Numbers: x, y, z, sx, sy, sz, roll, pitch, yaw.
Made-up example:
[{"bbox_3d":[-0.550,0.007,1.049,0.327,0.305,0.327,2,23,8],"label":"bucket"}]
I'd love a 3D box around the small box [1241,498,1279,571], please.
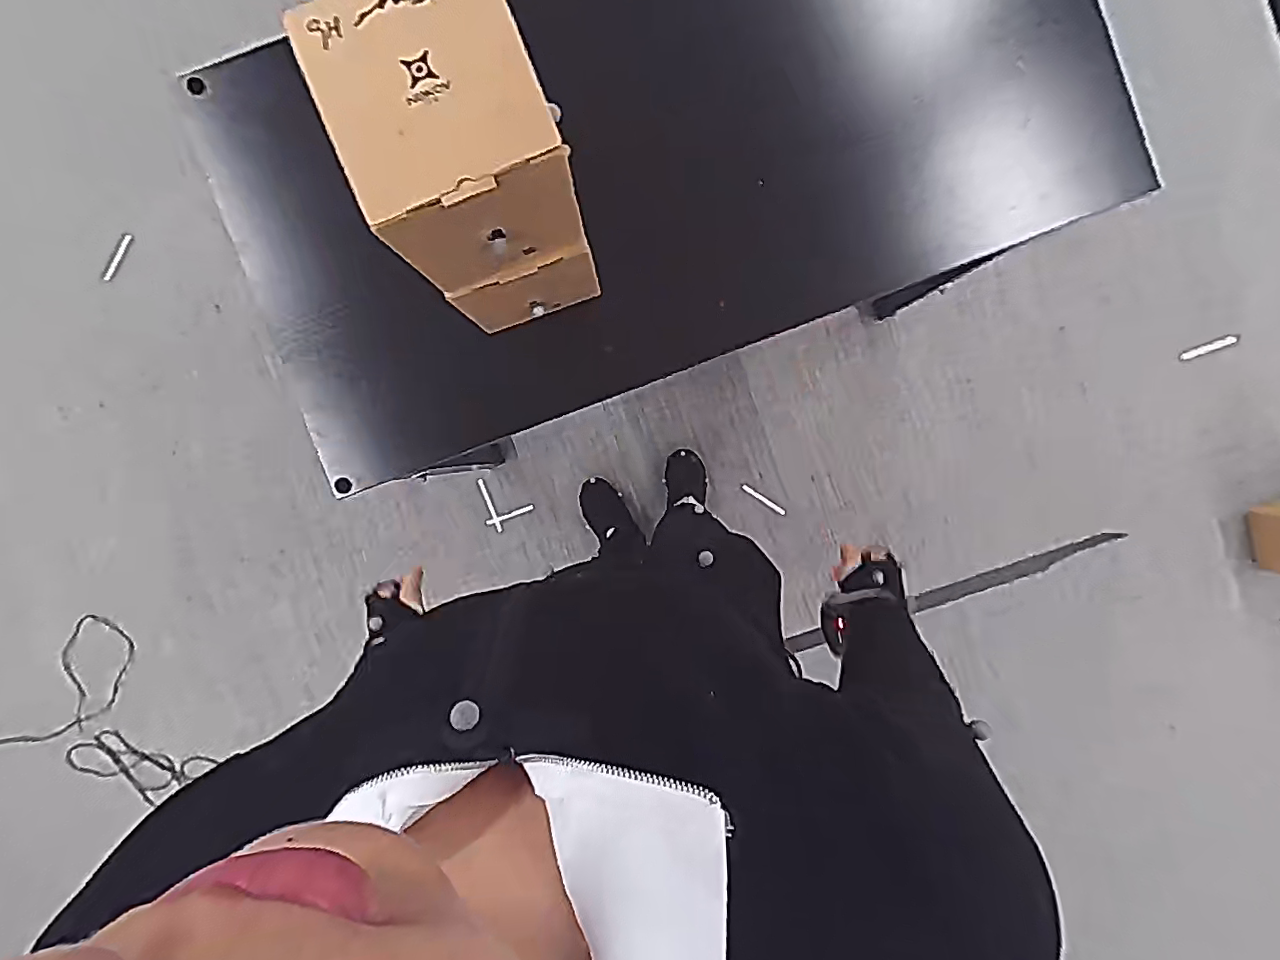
[{"bbox_3d":[1.757,0.143,1.424,0.168,0.176,0.179,-17,94,1],"label":"small box"}]

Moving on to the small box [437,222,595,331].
[{"bbox_3d":[-0.161,-0.305,0.659,0.168,0.176,0.179,-19,93,1],"label":"small box"}]

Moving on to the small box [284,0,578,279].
[{"bbox_3d":[-0.166,-0.305,0.495,0.168,0.176,0.179,-22,93,1],"label":"small box"}]
